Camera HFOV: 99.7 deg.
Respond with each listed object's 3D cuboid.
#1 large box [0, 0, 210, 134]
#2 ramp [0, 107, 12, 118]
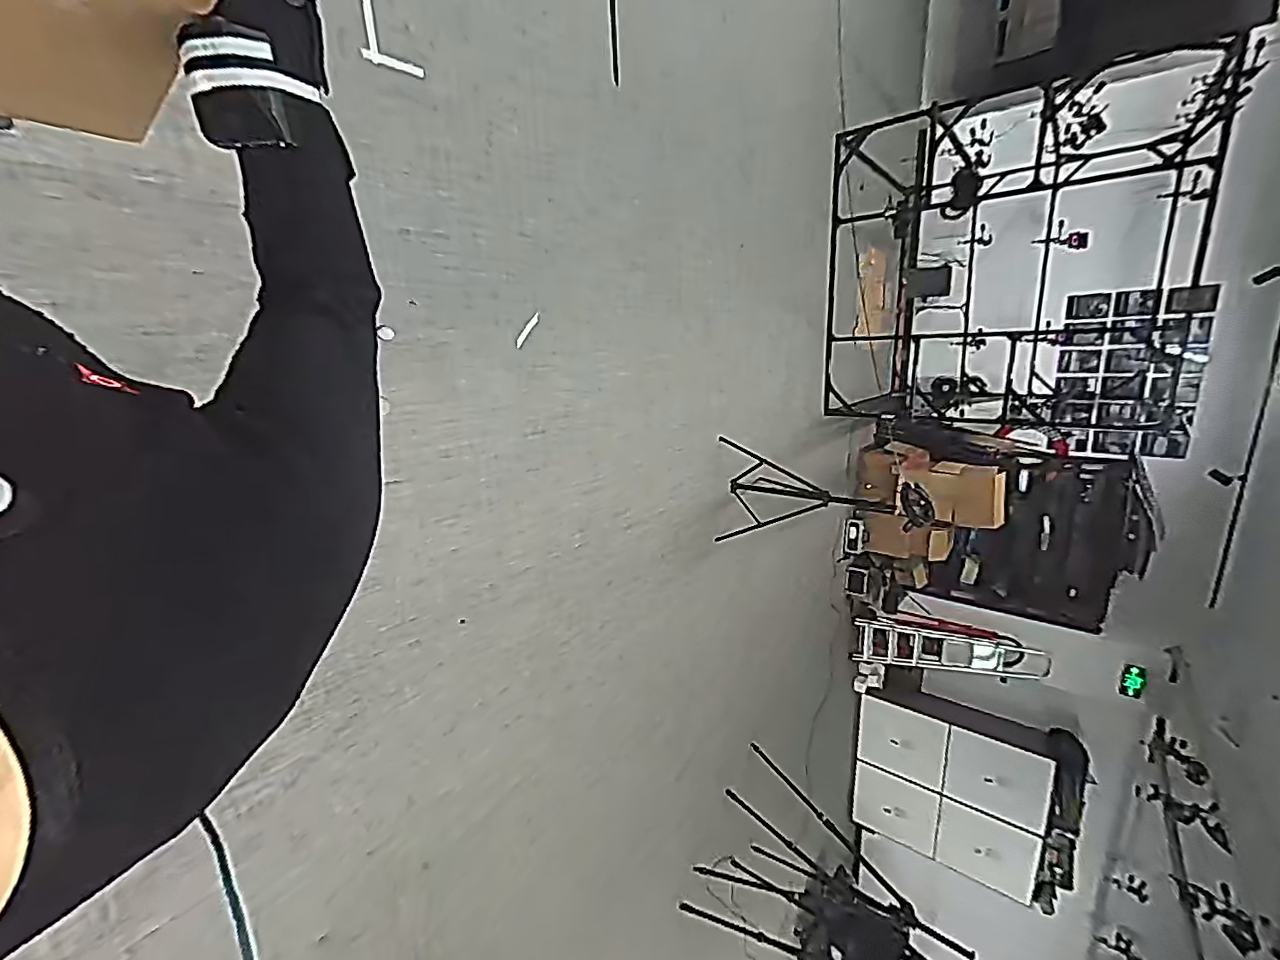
[{"bbox_3d":[-0.509,-0.429,0.256,0.408,0.320,0.320,-16,108,-48],"label":"large box"},{"bbox_3d":[-1.209,-1.046,0.605,0.509,0.206,0.991,-22,114,-49],"label":"ramp"}]
